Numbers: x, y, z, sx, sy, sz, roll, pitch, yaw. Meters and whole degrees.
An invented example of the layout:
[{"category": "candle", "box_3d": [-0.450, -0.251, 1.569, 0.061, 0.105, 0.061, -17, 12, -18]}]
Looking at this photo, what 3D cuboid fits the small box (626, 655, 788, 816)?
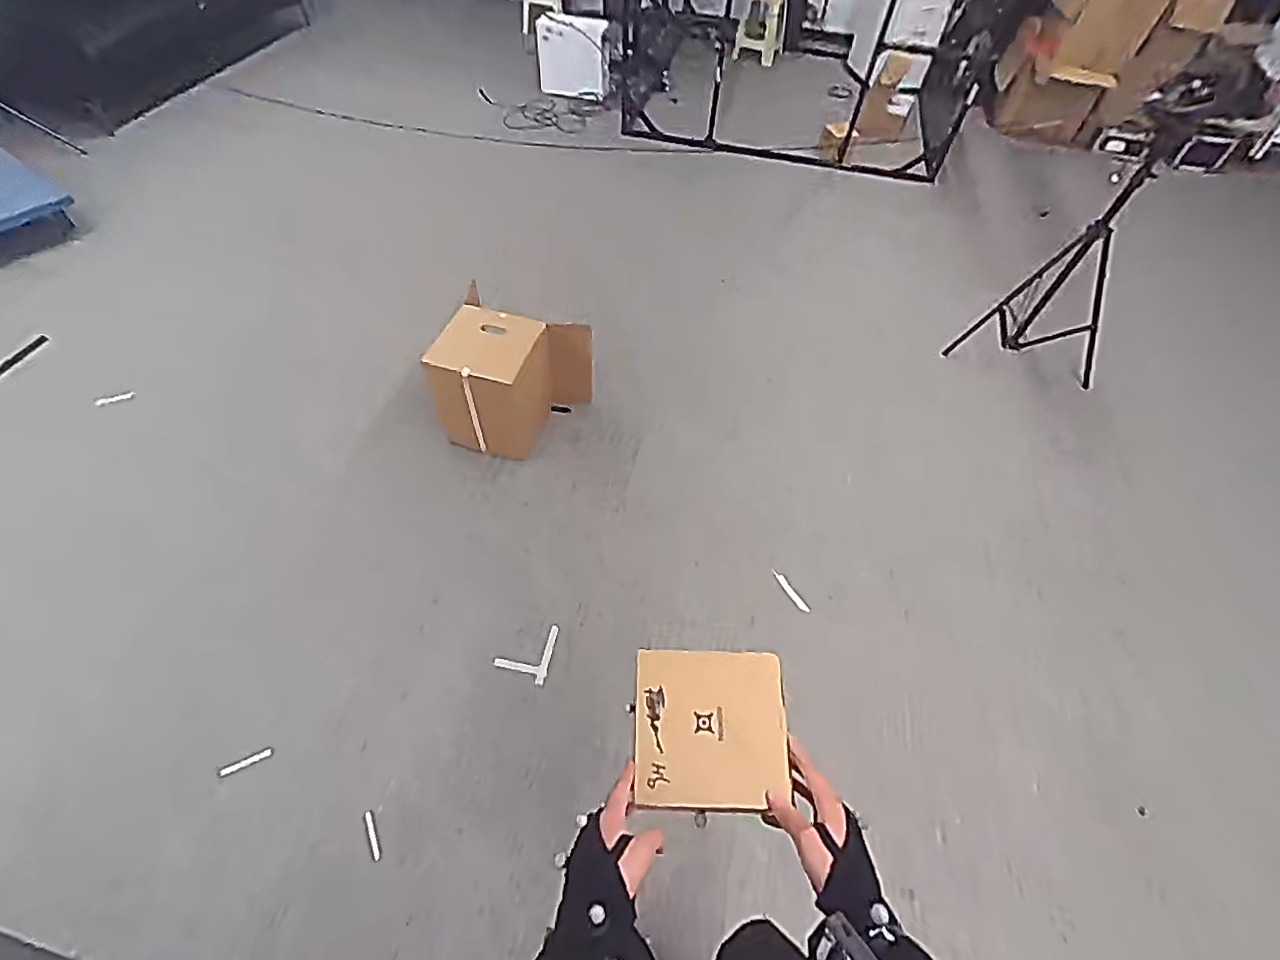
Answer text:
[{"category": "small box", "box_3d": [0.075, 0.331, 0.696, 0.179, 0.176, 0.168, 3, 58, -1]}]
